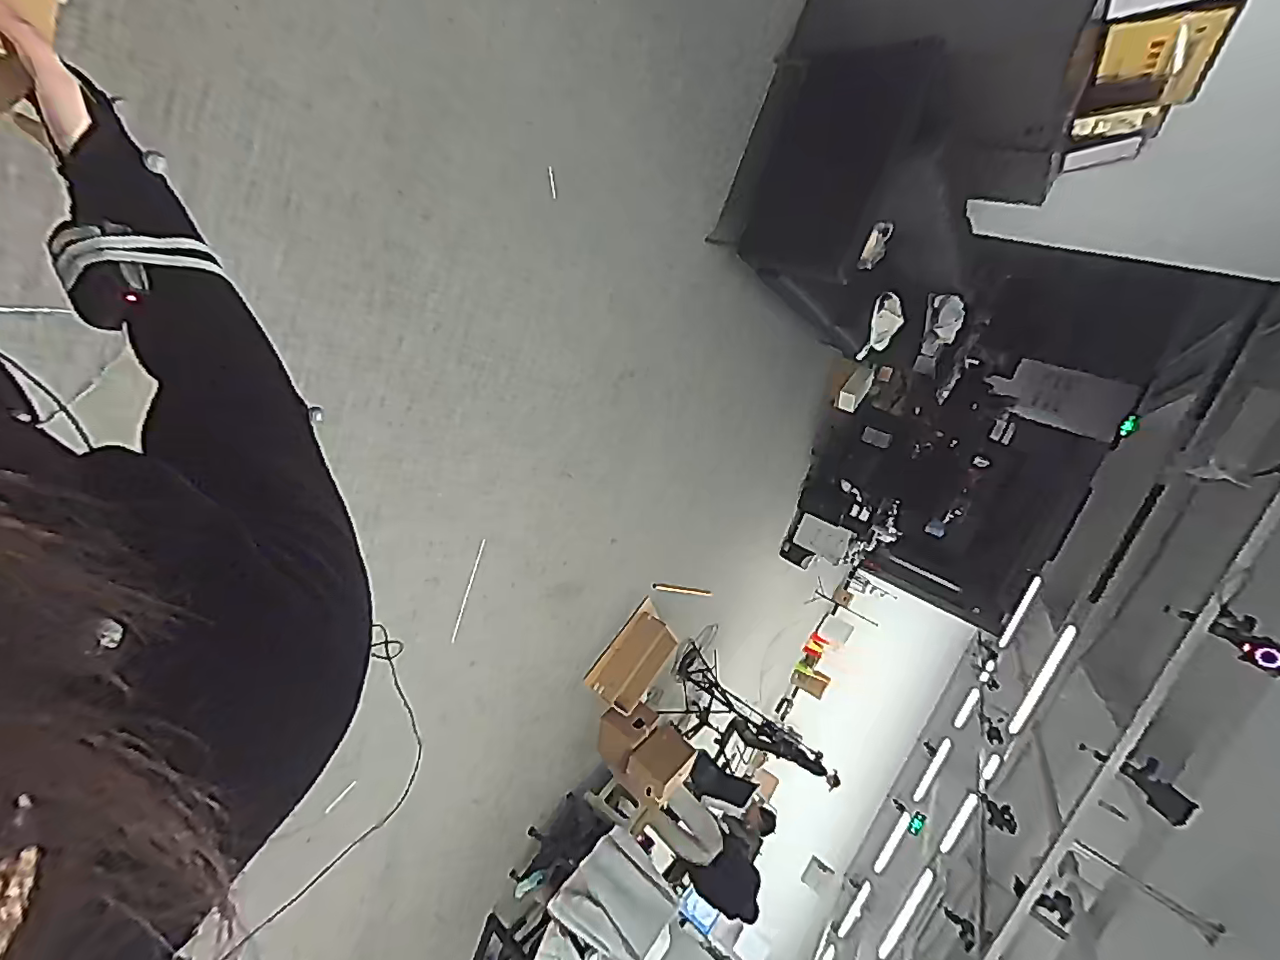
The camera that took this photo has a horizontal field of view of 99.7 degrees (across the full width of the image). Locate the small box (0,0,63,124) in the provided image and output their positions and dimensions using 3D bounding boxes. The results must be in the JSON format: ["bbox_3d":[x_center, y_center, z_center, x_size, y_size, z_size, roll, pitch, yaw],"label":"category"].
[{"bbox_3d":[-0.524,-0.375,0.360,0.168,0.176,0.179,7,87,-61],"label":"small box"}]
